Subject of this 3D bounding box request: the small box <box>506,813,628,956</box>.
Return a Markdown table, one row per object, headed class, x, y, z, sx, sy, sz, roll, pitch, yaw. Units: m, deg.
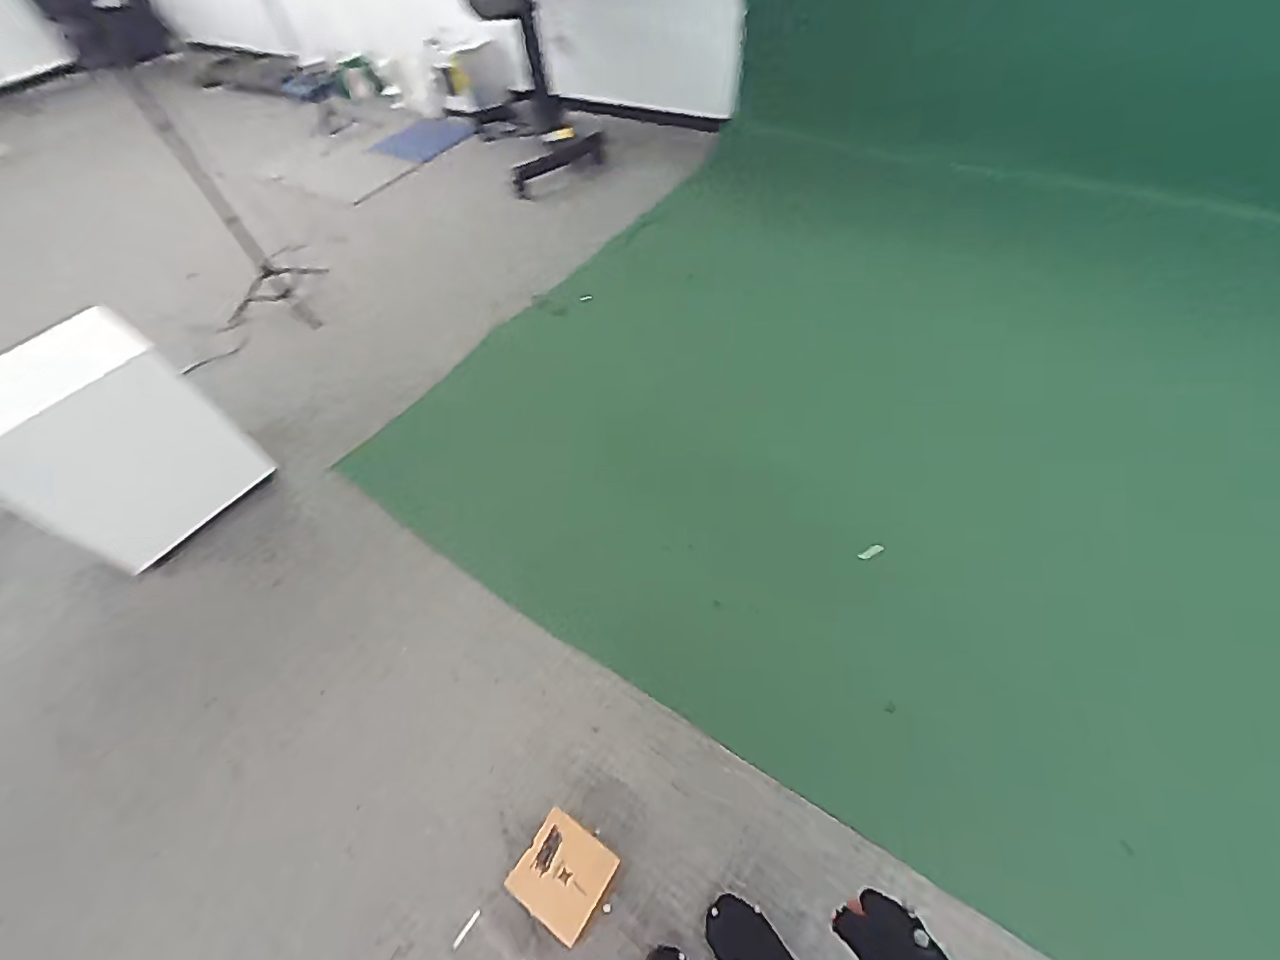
| class | x | y | z | sx | sy | sz | roll | pitch | yaw |
| --- | --- | --- | --- | --- | --- | --- | --- | --- | --- |
| small box | -0.142 | 0.833 | 1.119 | 0.179 | 0.176 | 0.168 | 26 | 59 | 22 |
